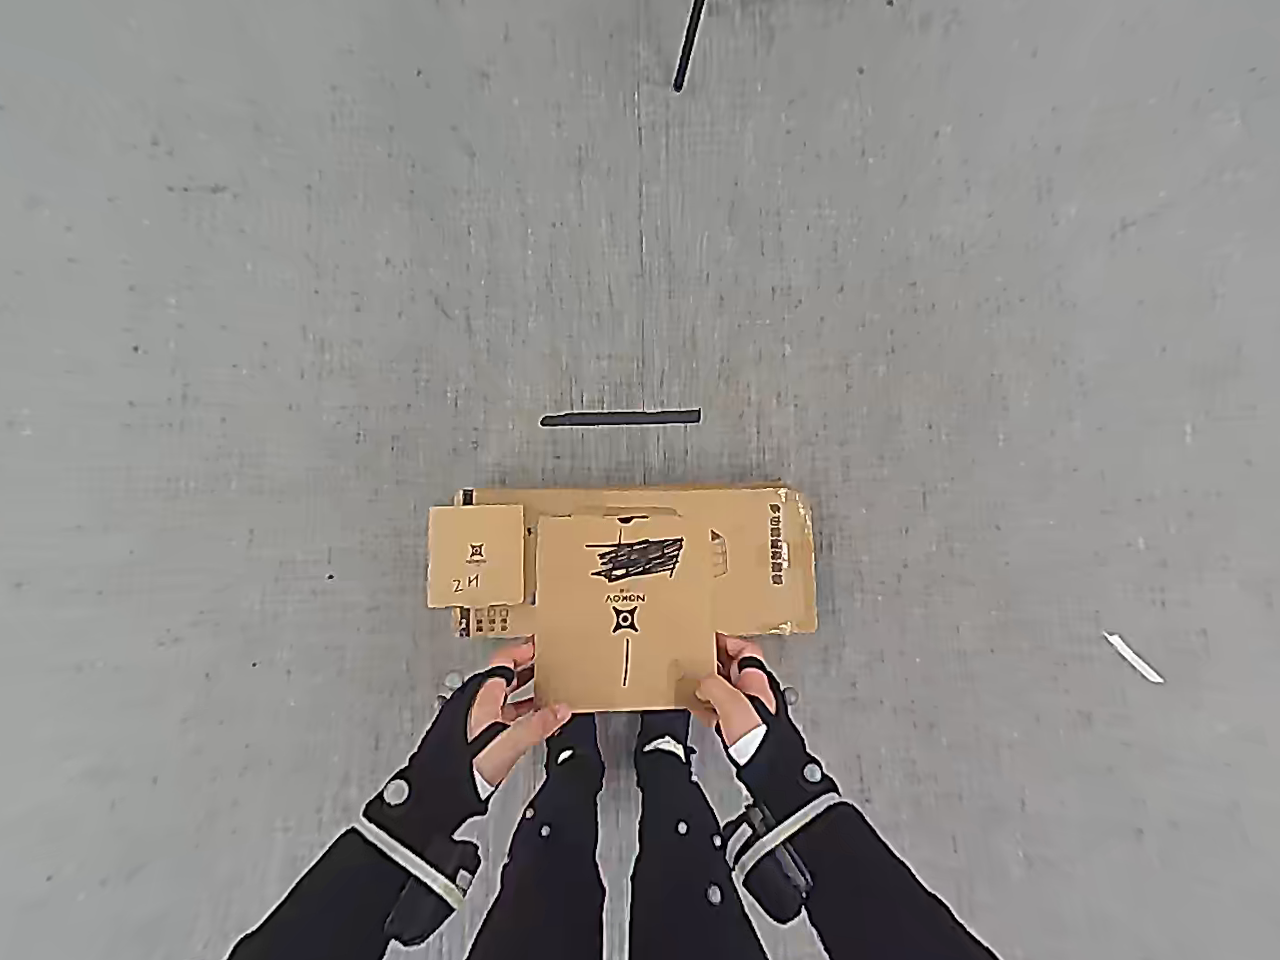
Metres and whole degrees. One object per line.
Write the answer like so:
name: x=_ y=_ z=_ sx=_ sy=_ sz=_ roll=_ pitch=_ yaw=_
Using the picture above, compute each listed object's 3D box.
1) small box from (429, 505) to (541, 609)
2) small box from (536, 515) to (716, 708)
small box: x=-0.281 y=0.141 z=1.010 sx=0.168 sy=0.176 sz=0.179 roll=-1 pitch=84 yaw=-1
small box: x=-0.021 y=0.138 z=0.583 sx=0.168 sy=0.176 sz=0.179 roll=0 pitch=77 yaw=-5
